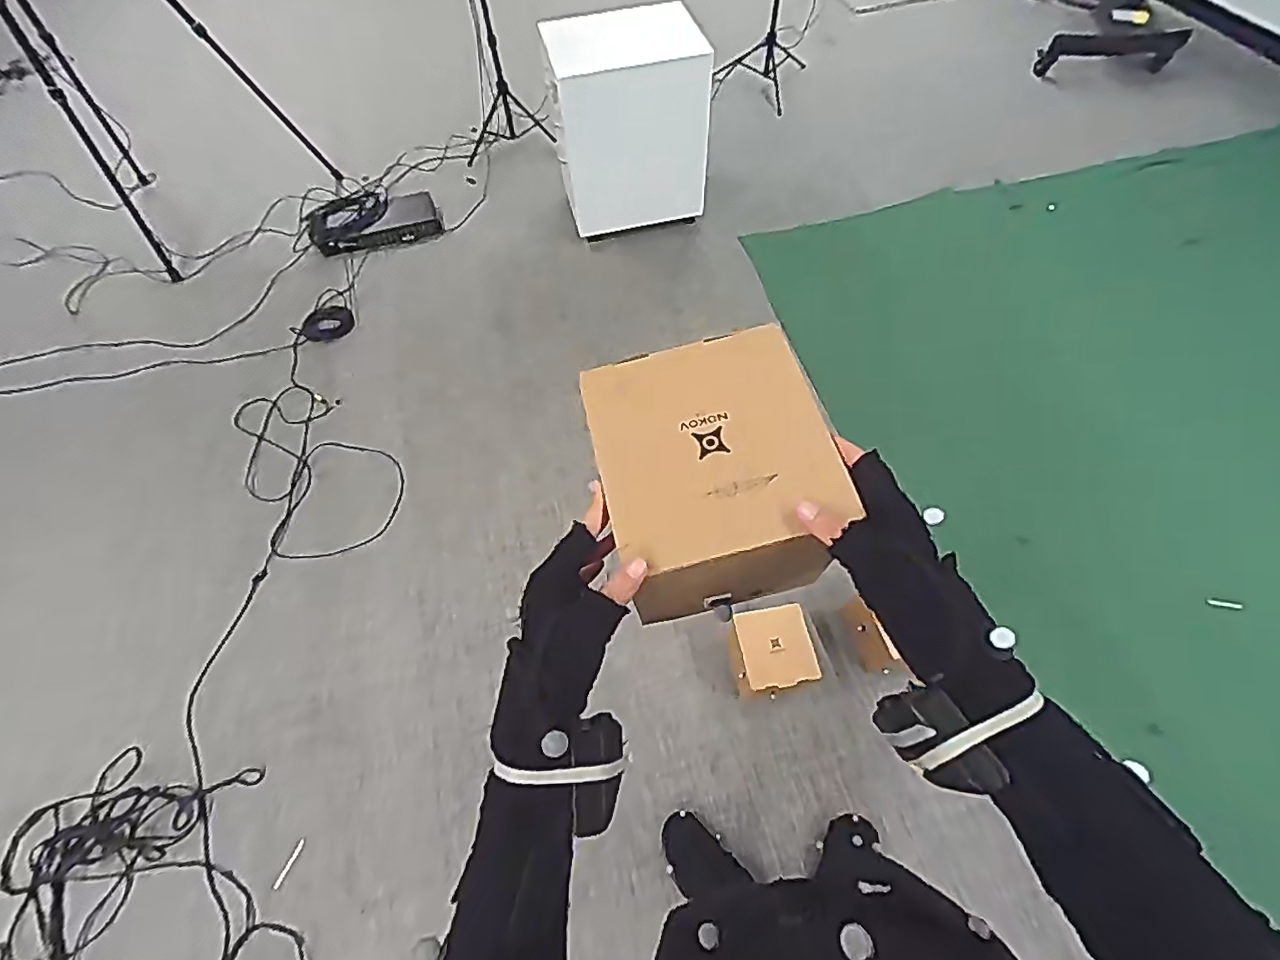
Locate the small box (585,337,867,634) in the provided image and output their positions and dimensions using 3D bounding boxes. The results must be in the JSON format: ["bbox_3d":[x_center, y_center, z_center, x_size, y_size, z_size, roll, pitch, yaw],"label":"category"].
[{"bbox_3d":[0.058,0.014,0.461,0.168,0.176,0.179,-14,64,-2],"label":"small box"}]

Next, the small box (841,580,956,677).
[{"bbox_3d":[0.624,0.371,1.330,0.168,0.176,0.179,-14,59,-6],"label":"small box"}]

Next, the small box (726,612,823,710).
[{"bbox_3d":[0.313,0.437,1.300,0.168,0.176,0.179,-10,60,-4],"label":"small box"}]
